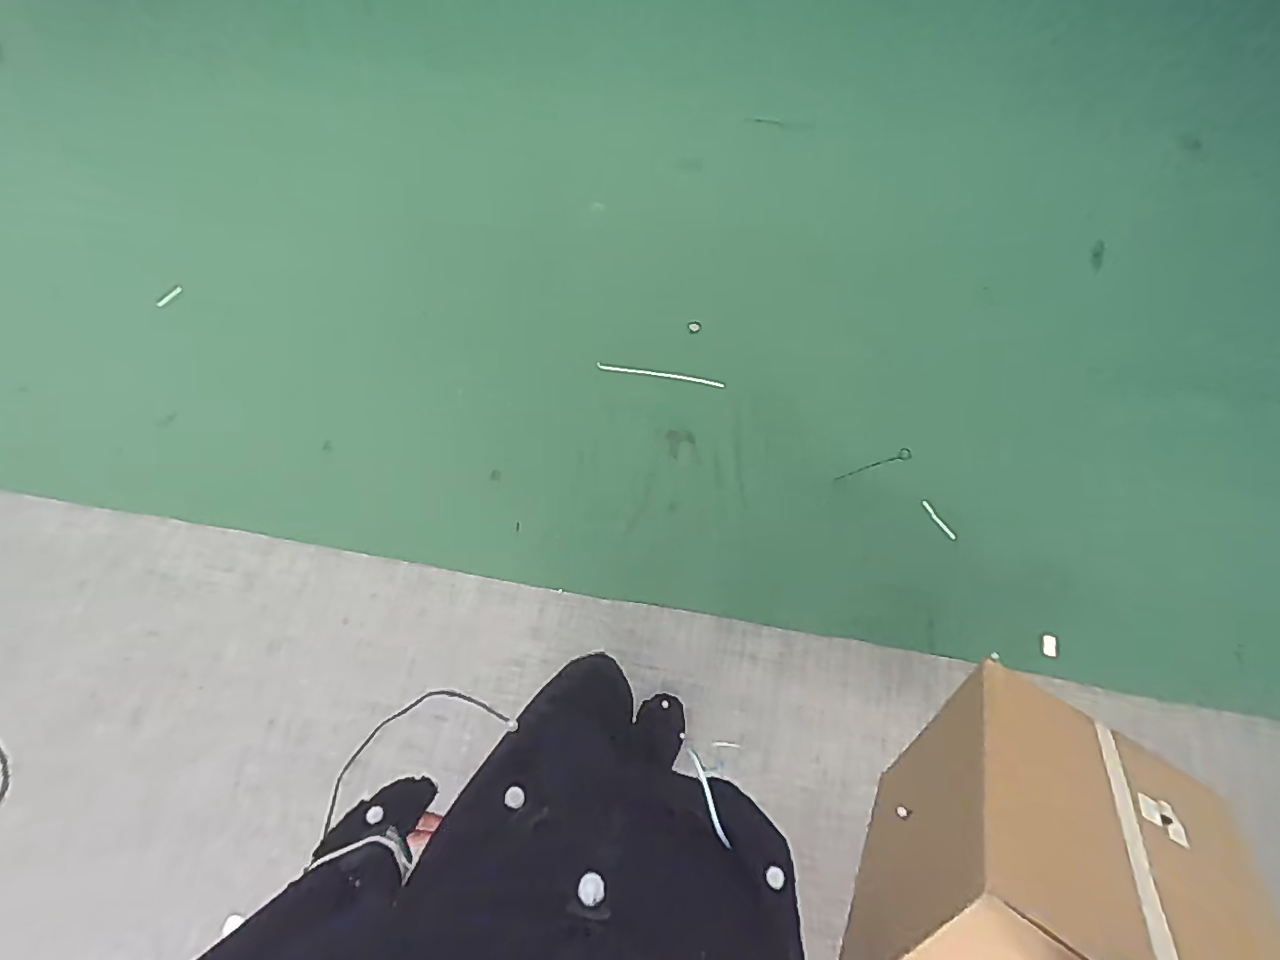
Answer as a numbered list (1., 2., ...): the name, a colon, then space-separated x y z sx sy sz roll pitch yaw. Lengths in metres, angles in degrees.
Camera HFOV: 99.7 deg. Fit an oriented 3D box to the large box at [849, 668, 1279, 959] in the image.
1. large box: 0.493 0.533 0.673 0.320 0.408 0.320 32 119 20
